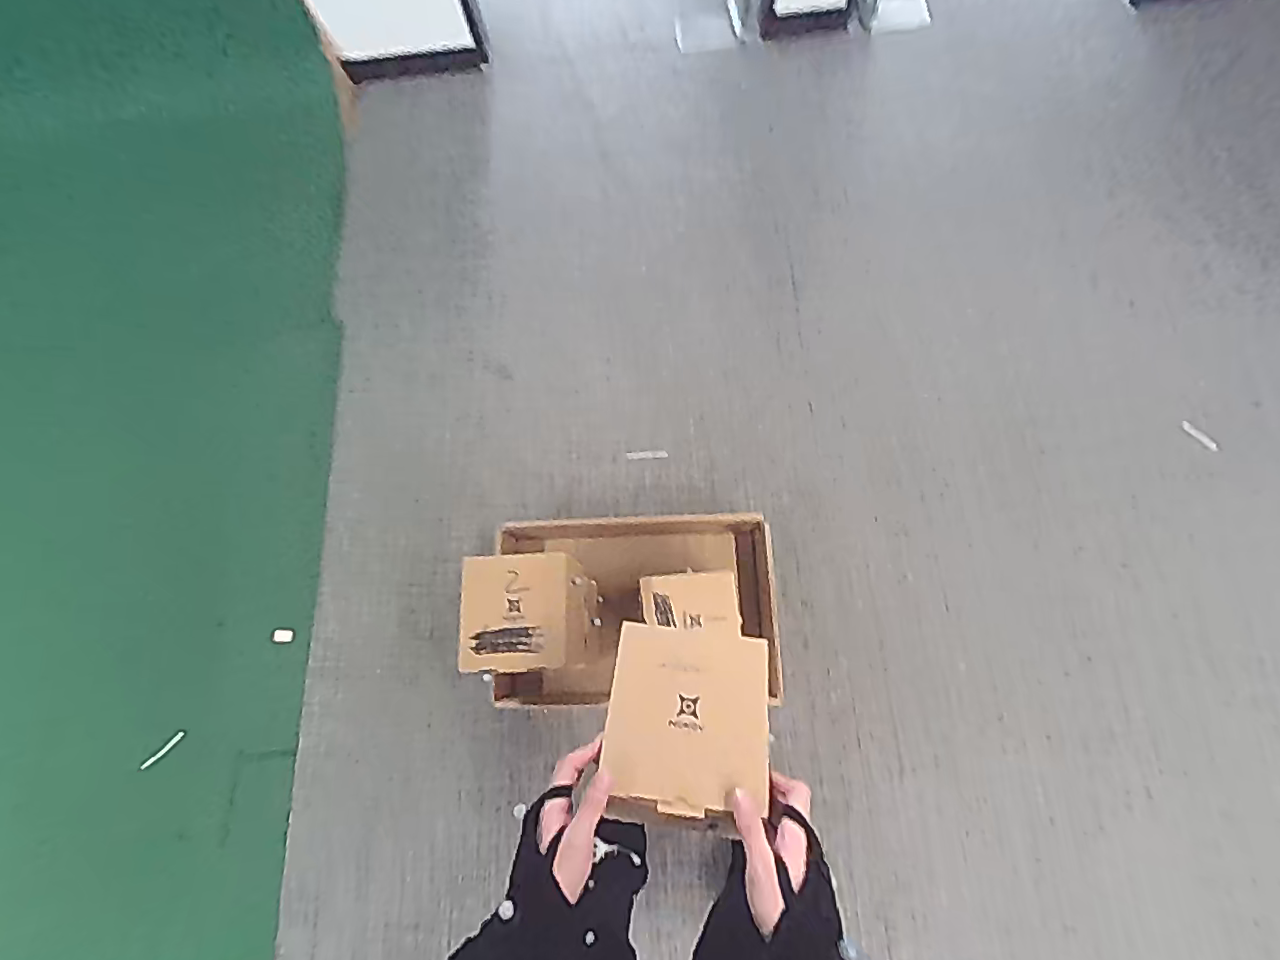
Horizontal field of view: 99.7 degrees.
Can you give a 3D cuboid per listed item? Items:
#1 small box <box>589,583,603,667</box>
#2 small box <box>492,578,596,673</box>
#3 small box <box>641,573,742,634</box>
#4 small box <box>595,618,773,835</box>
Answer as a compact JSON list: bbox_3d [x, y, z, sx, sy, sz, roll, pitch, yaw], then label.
[{"bbox_3d":[-0.173,0.327,1.216,0.168,0.176,0.179,-1,73,2],"label":"small box"},{"bbox_3d":[-0.178,0.284,1.058,0.179,0.176,0.168,-3,73,1],"label":"small box"},{"bbox_3d":[0.098,0.273,1.044,0.179,0.176,0.168,-4,75,2],"label":"small box"},{"bbox_3d":[0.051,0.279,0.606,0.168,0.176,0.179,7,52,4],"label":"small box"}]
